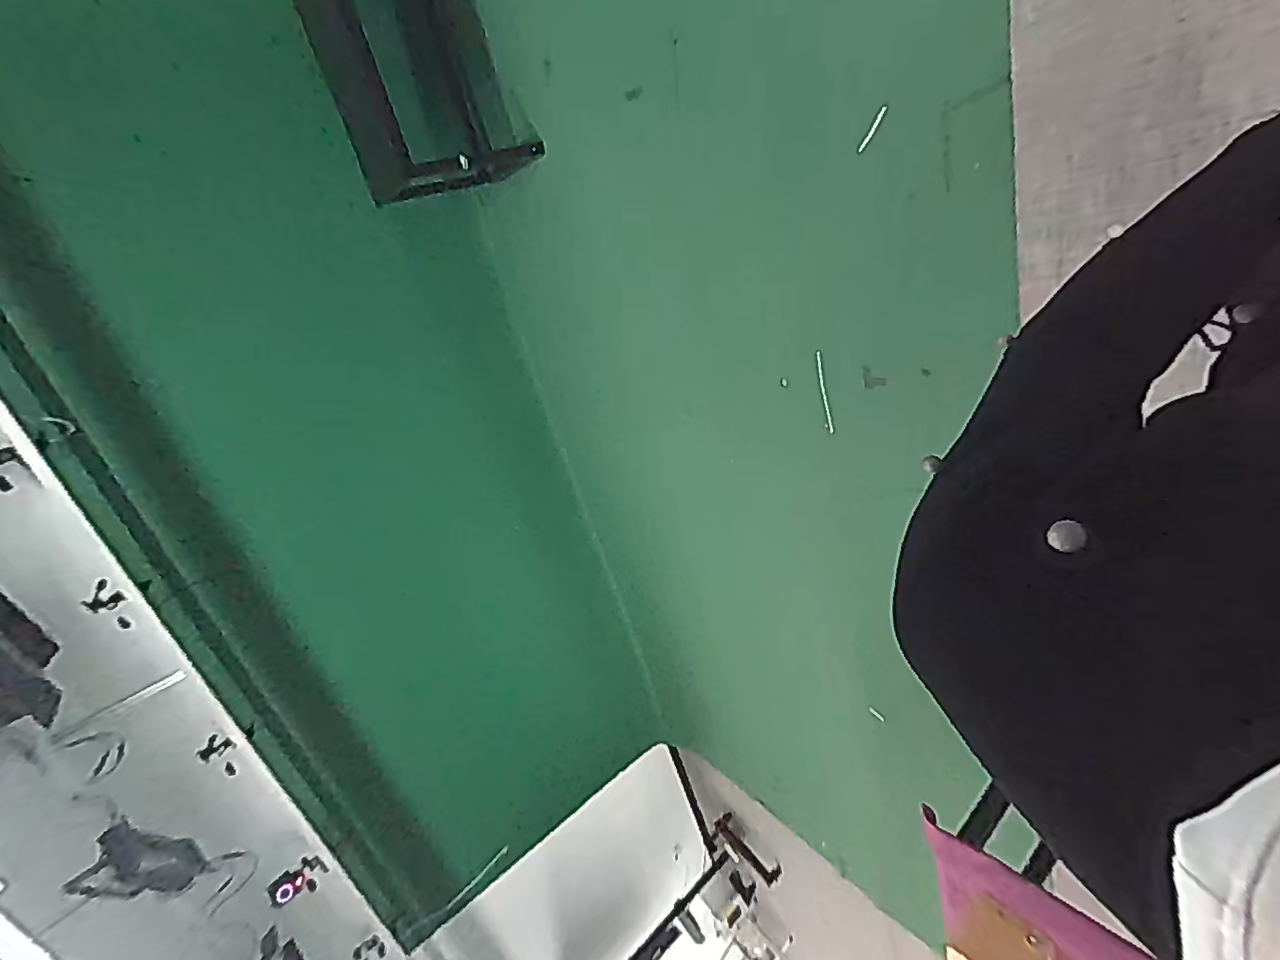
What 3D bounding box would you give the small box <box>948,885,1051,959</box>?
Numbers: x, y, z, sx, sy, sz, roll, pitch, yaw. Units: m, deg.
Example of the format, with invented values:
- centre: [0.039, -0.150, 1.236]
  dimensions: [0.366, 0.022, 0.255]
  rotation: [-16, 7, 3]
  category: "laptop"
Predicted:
- centre: [0.881, 1.156, 1.326]
  dimensions: [0.168, 0.176, 0.179]
  rotation: [16, 131, 51]
  category: "small box"
